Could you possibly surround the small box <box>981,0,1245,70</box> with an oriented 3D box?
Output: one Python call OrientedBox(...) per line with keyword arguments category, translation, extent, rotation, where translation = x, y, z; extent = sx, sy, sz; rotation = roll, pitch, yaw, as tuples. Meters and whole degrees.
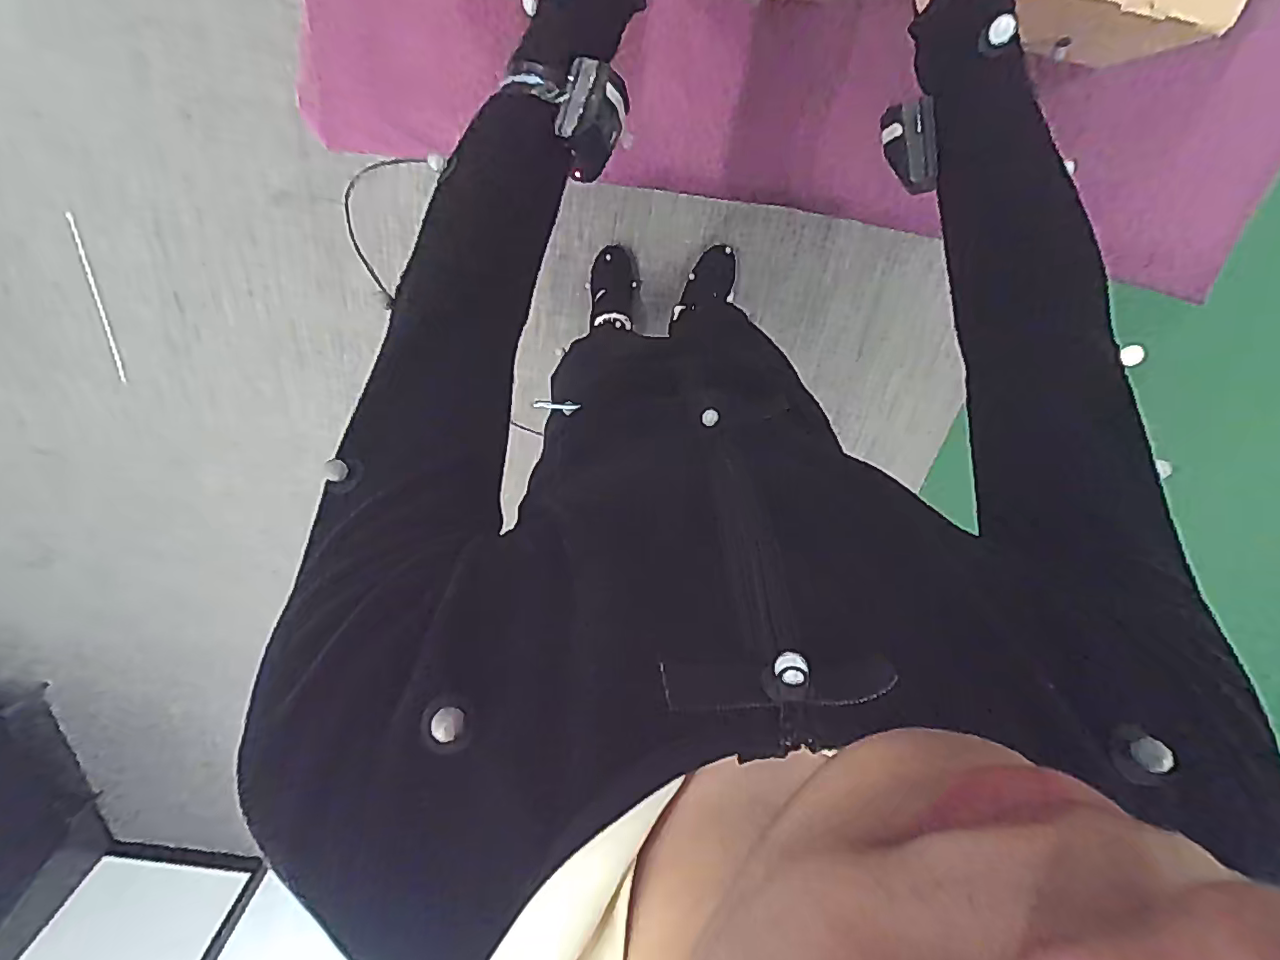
OrientedBox(category="small box", translation=(0.476, -0.533, 0.521), extent=(0.168, 0.176, 0.179), rotation=(12, 118, -3))
